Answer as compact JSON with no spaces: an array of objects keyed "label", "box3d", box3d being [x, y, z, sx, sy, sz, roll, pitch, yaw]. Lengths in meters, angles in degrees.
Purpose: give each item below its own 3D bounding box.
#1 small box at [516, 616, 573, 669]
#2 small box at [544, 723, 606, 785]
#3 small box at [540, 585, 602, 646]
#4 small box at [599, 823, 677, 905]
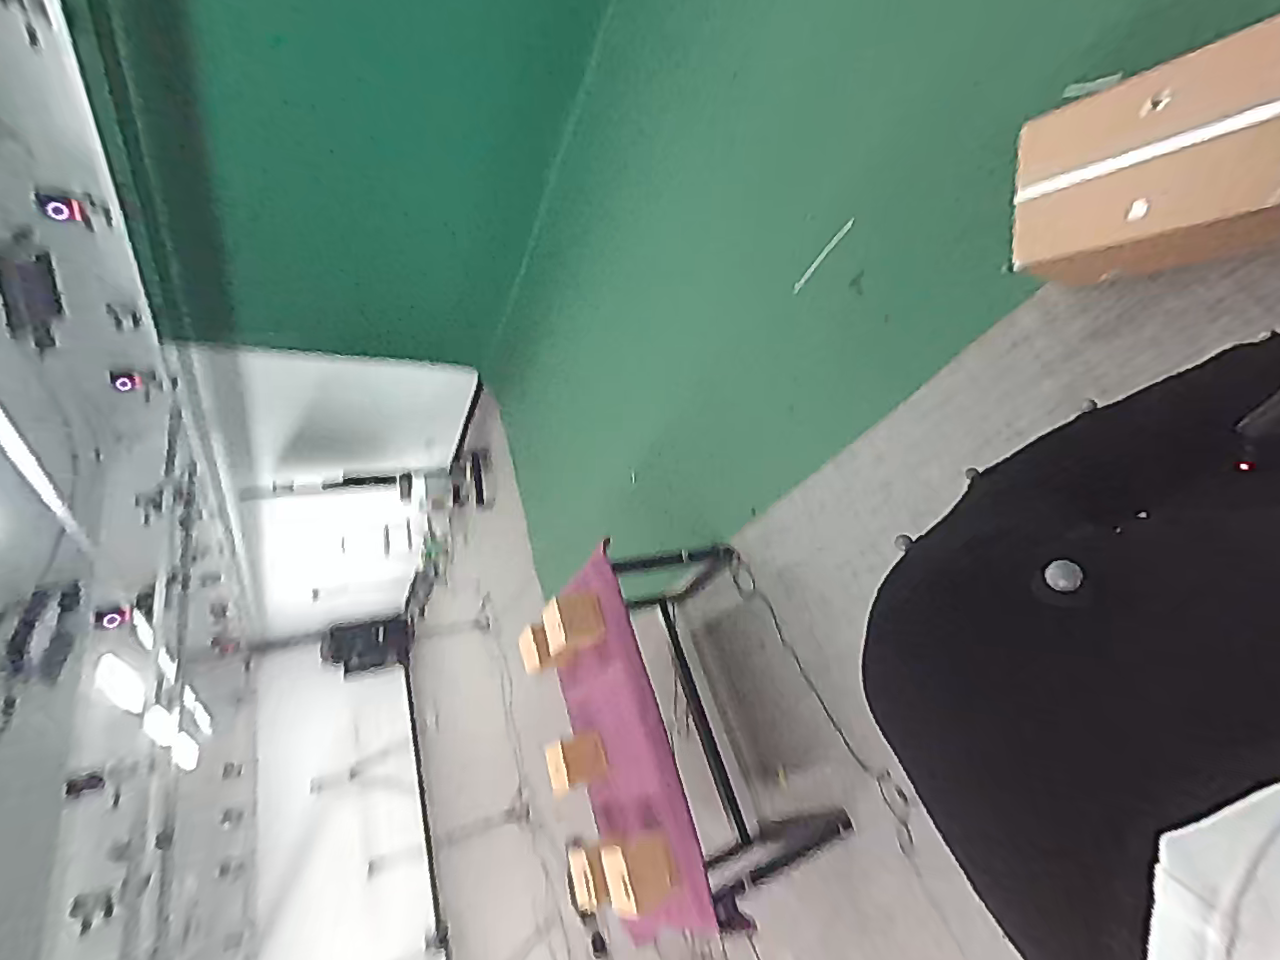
[{"label":"small box","box3d":[-0.405,0.679,2.291,0.179,0.176,0.168,-51,55,45]},{"label":"small box","box3d":[-0.254,1.061,2.095,0.179,0.176,0.168,-49,52,46]},{"label":"small box","box3d":[-0.261,0.516,2.057,0.179,0.176,0.168,-50,53,49]},{"label":"small box","box3d":[-0.002,1.209,1.711,0.179,0.176,0.168,-51,51,47]}]
